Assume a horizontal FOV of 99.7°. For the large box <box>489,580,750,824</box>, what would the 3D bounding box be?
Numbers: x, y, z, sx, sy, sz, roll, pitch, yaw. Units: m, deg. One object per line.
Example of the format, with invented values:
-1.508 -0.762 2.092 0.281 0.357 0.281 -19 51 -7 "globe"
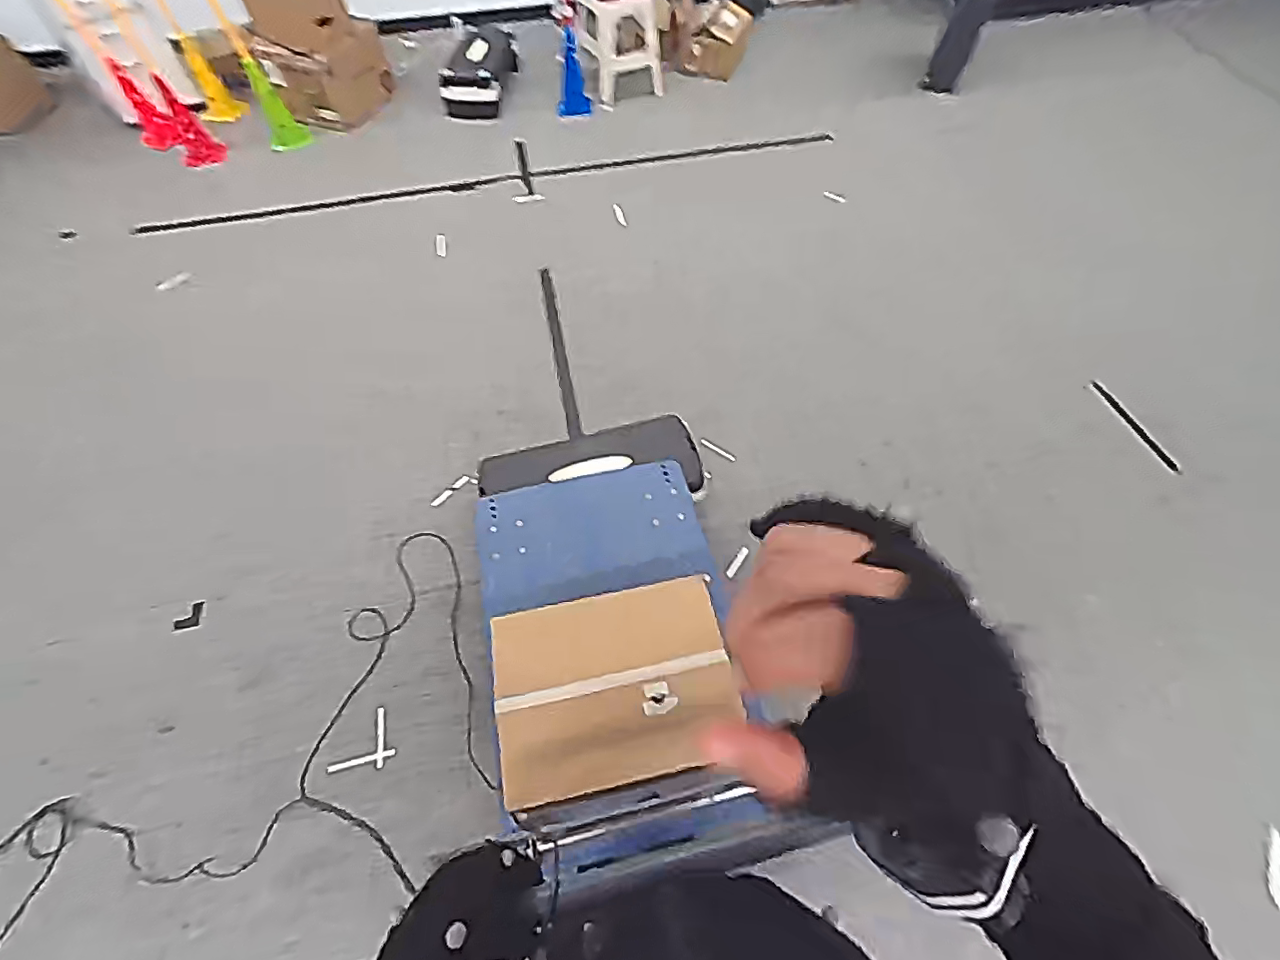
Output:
-0.050 0.435 1.047 0.408 0.320 0.320 -11 58 -8 "large box"
